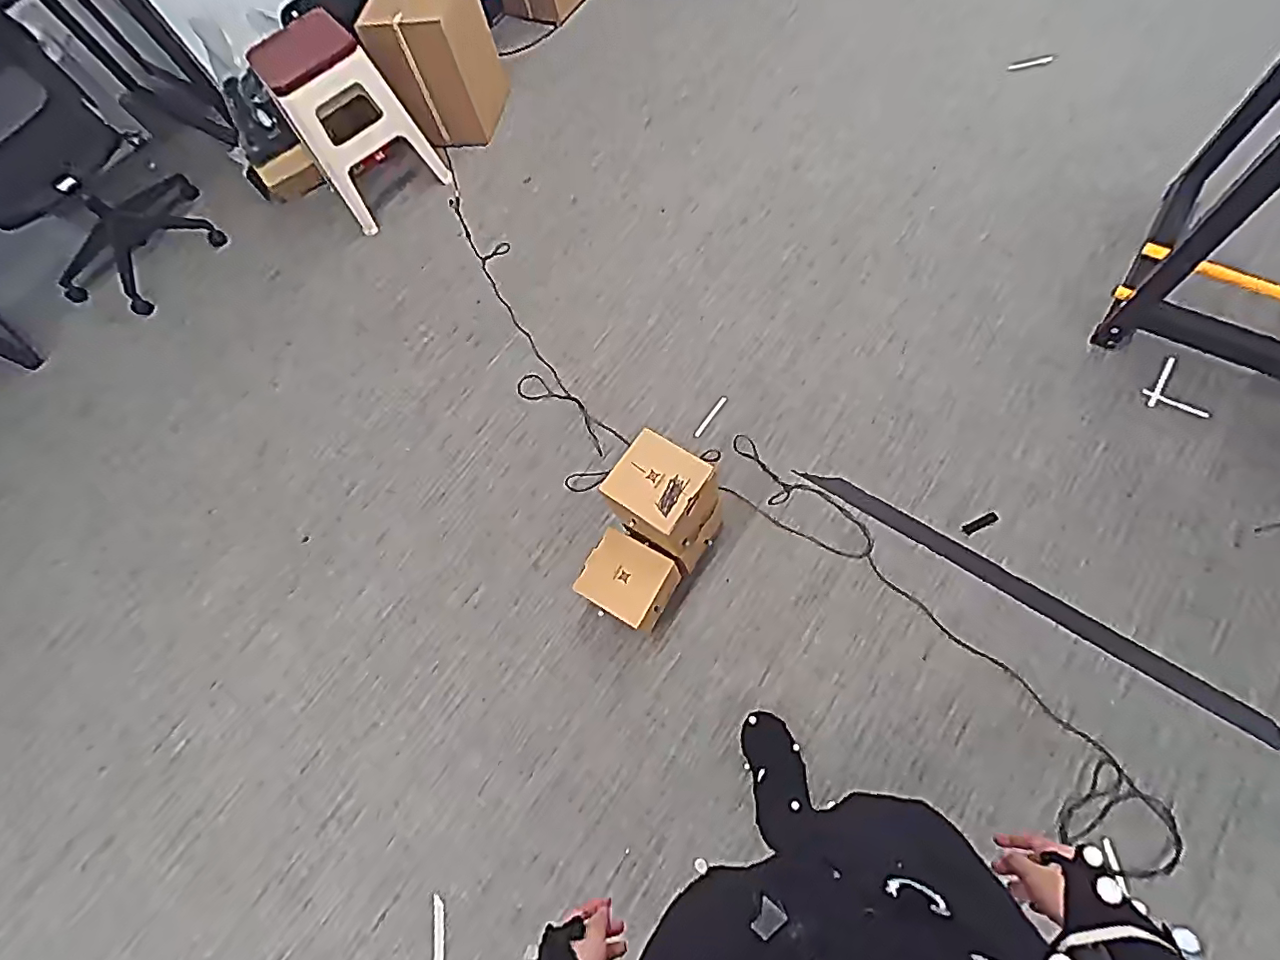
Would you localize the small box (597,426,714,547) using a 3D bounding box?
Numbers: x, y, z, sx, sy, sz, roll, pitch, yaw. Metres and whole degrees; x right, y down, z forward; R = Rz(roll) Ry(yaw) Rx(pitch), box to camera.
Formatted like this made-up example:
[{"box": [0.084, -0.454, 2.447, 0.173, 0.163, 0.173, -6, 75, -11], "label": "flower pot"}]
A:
[{"box": [0.042, 0.024, 1.131, 0.179, 0.176, 0.168, 32, 77, 21], "label": "small box"}]
